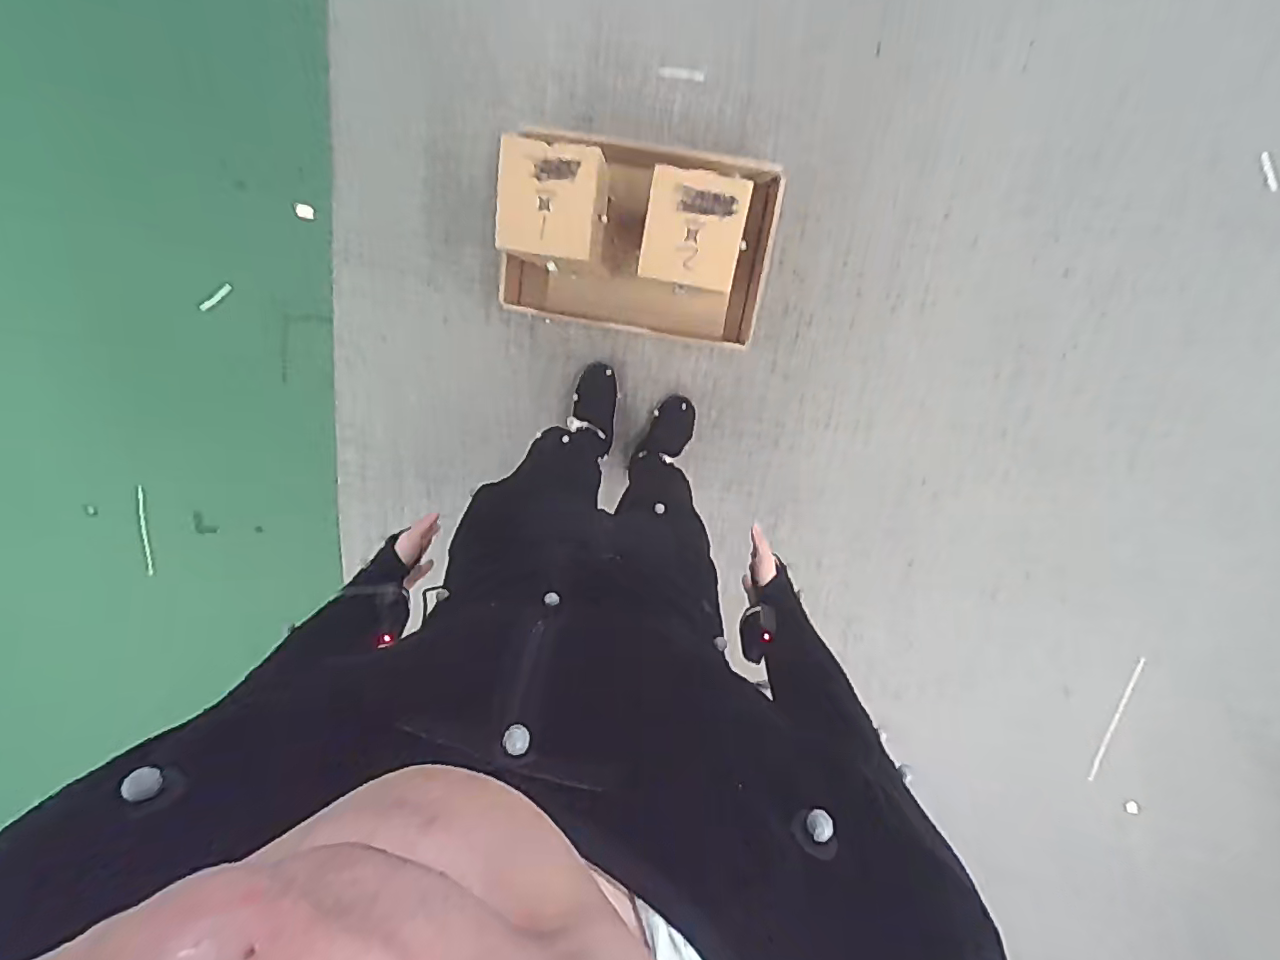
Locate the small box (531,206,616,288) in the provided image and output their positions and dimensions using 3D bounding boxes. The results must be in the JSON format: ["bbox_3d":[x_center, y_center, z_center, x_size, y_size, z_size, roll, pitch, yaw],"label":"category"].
[{"bbox_3d":[-0.155,-0.565,1.296,0.168,0.176,0.179,10,106,0],"label":"small box"}]

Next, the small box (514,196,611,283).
[{"bbox_3d":[-0.157,-0.521,1.140,0.168,0.176,0.179,8,105,1],"label":"small box"}]

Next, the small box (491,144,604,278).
[{"bbox_3d":[-0.161,-0.476,0.982,0.168,0.176,0.179,9,106,0],"label":"small box"}]

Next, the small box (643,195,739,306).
[{"bbox_3d":[0.103,-0.474,1.140,0.168,0.176,0.179,10,106,2],"label":"small box"}]
